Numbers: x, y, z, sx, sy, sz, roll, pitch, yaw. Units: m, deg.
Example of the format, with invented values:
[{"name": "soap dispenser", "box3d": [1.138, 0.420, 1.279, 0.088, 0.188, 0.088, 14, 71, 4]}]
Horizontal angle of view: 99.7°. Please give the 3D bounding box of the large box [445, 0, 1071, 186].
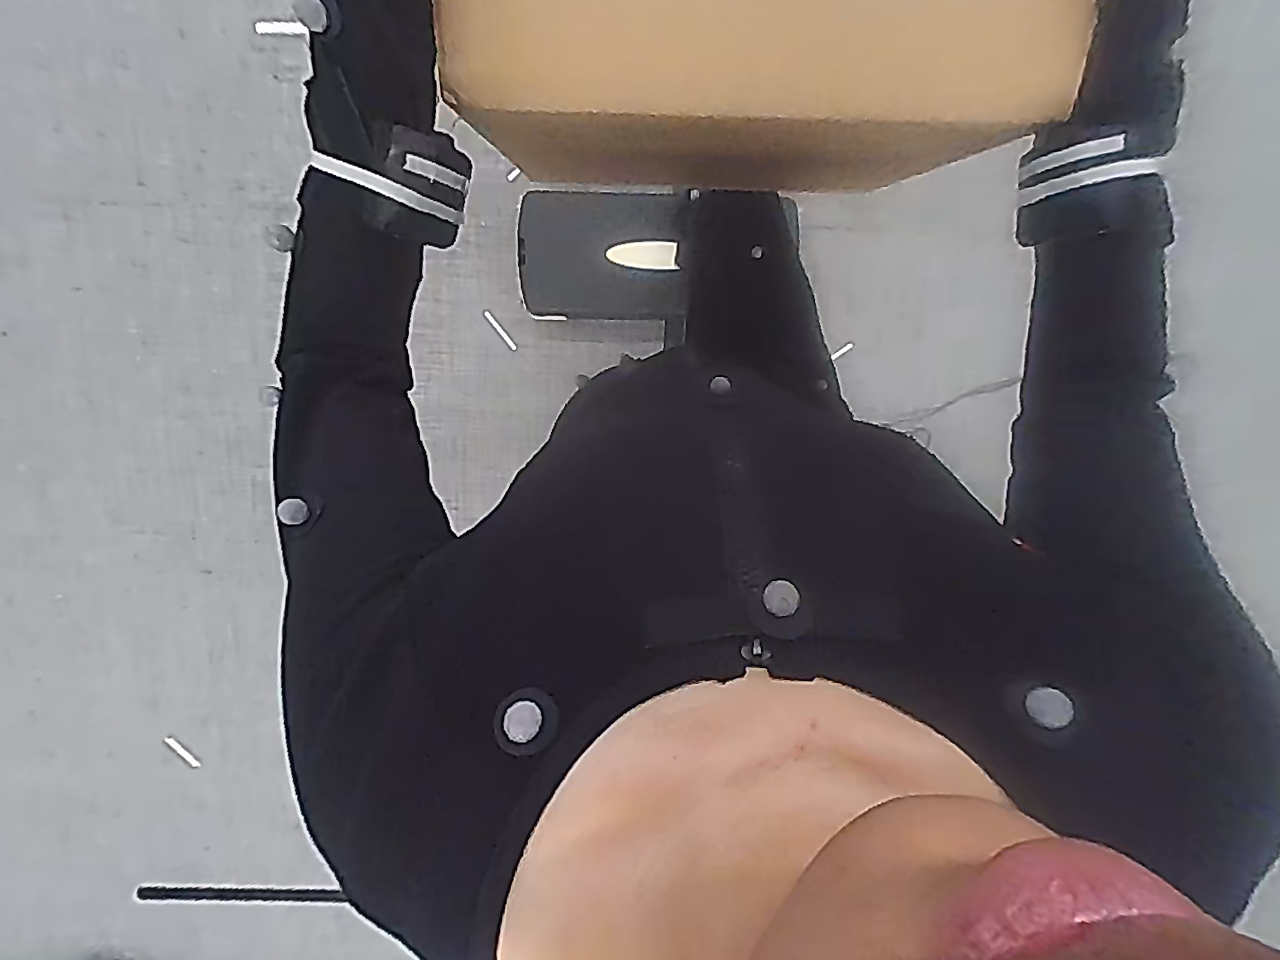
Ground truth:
[{"name": "large box", "box3d": [0.072, -0.443, 0.447, 0.408, 0.320, 0.320, 1, 111, -1]}]
